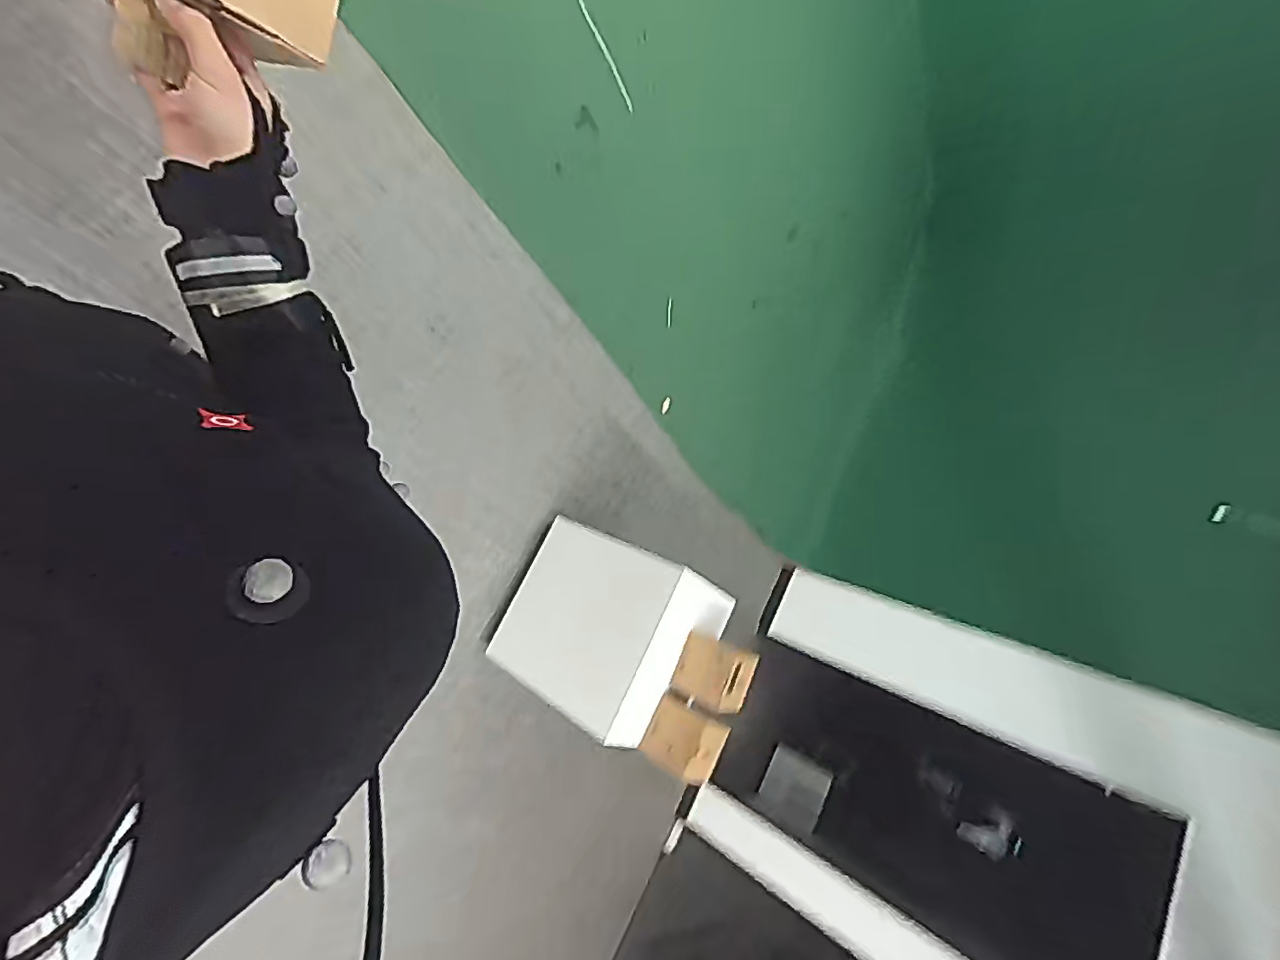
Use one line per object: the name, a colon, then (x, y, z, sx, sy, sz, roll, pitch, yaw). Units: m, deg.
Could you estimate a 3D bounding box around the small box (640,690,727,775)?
small box: (0.126, 0.746, 1.603, 0.168, 0.176, 0.179, -61, 141, -14)
